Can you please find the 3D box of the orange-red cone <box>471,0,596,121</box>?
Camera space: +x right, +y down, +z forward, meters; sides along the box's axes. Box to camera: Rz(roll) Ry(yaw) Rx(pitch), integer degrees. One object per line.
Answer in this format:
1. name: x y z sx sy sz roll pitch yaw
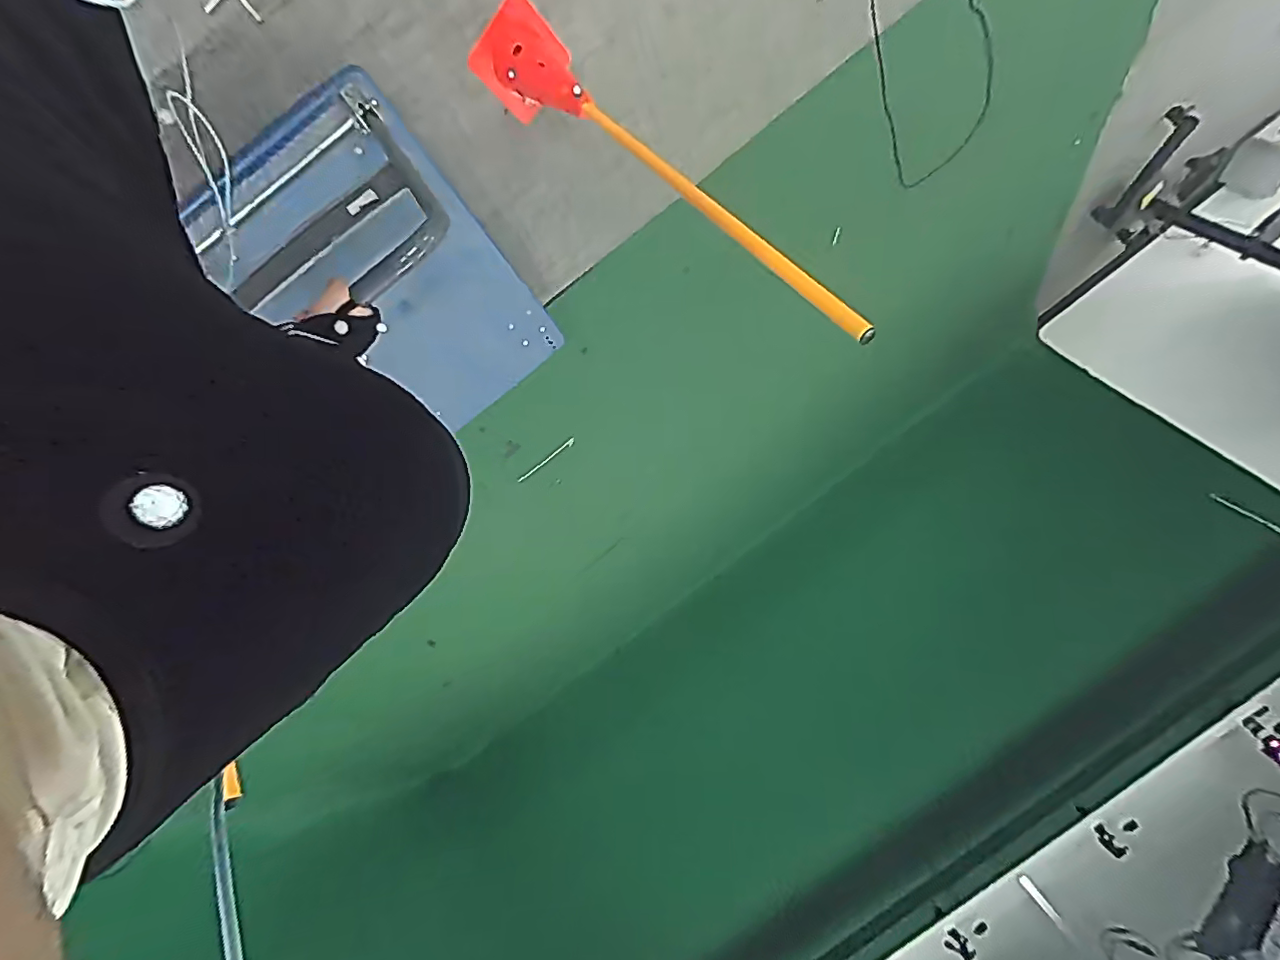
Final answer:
1. orange-red cone: -0.199 -0.901 1.223 0.199 0.360 0.198 -47 148 14
